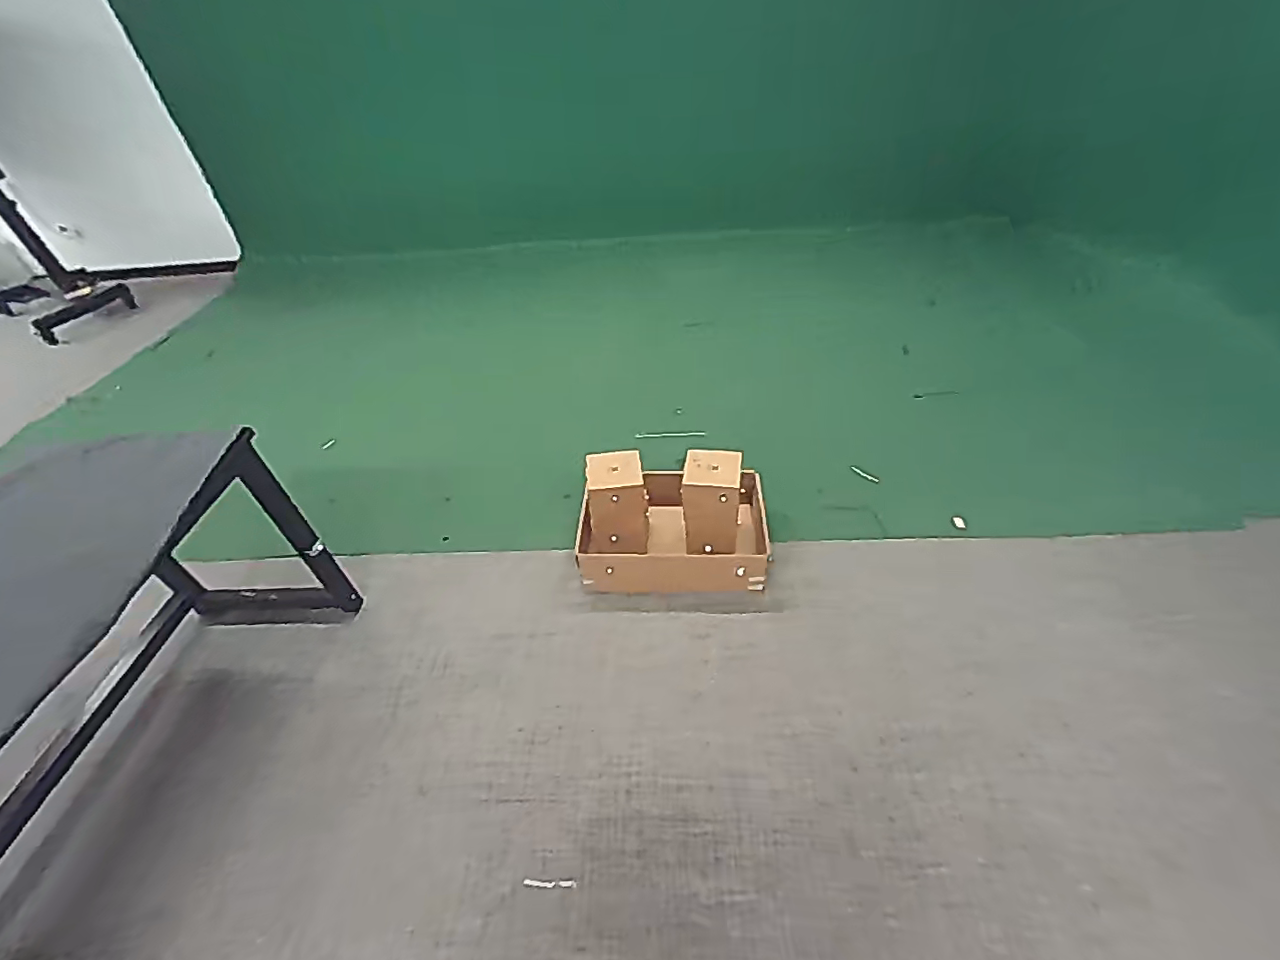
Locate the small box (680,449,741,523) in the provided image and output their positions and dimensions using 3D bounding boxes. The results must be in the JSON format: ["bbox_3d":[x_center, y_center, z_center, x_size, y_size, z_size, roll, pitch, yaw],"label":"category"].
[{"bbox_3d":[0.225,0.022,1.729,0.179,0.176,0.168,4,44,11],"label":"small box"}]

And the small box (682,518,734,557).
[{"bbox_3d":[0.236,0.138,1.845,0.168,0.176,0.179,4,45,10],"label":"small box"}]

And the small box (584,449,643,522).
[{"bbox_3d":[-0.086,0.021,1.754,0.179,0.176,0.168,-5,44,-3],"label":"small box"}]
